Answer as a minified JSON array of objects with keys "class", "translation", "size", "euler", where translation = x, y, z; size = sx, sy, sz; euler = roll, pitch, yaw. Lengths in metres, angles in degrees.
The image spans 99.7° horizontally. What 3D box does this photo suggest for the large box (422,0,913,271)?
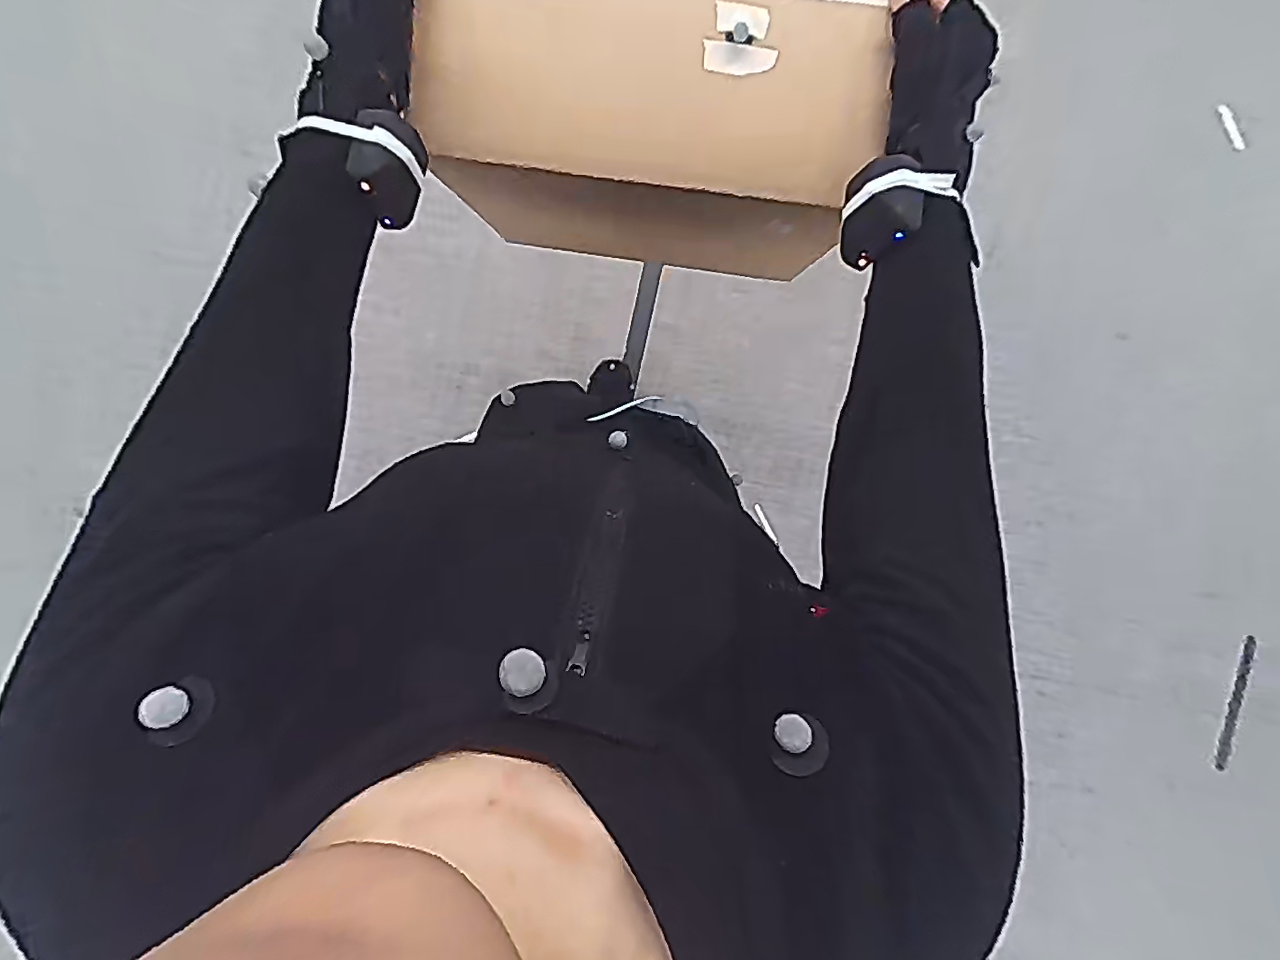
[{"class":"large box","translation":[0.028,-0.438,0.586],"size":[0.408,0.320,0.320],"euler":[8,101,0]}]
